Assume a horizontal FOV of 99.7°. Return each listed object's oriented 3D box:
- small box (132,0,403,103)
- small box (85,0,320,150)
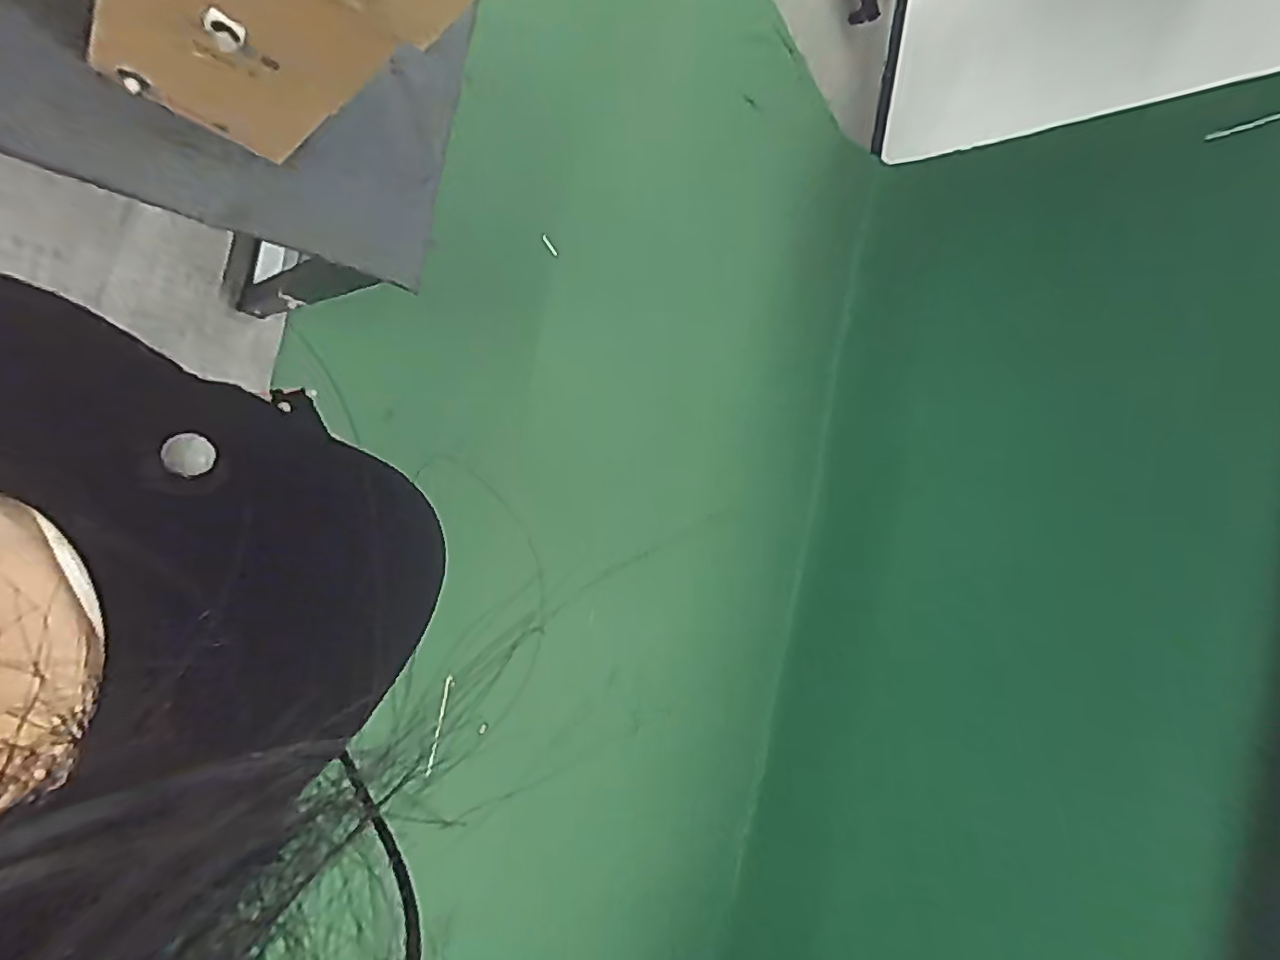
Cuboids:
[{"bbox_3d":[-0.287,-0.449,0.419,0.168,0.176,0.179,8,90,-48],"label":"small box"},{"bbox_3d":[-0.407,-0.467,0.527,0.168,0.176,0.179,14,84,-49],"label":"small box"}]
